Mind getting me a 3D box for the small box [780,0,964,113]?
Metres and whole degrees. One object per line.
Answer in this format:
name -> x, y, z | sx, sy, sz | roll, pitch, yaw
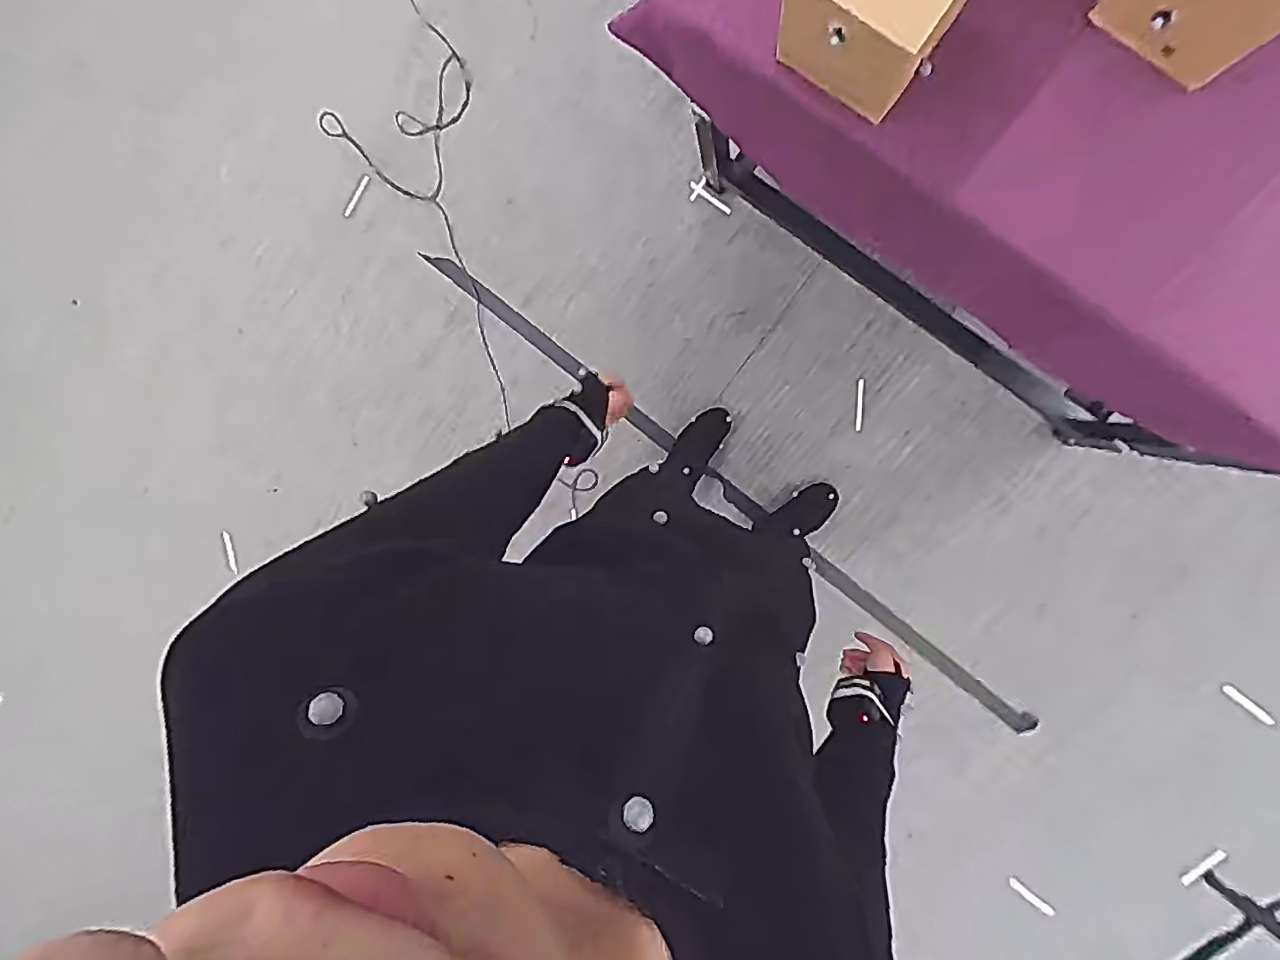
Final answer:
small box -> 0.287, -0.592, 0.650 | 0.179, 0.176, 0.168 | 37, 104, 3
